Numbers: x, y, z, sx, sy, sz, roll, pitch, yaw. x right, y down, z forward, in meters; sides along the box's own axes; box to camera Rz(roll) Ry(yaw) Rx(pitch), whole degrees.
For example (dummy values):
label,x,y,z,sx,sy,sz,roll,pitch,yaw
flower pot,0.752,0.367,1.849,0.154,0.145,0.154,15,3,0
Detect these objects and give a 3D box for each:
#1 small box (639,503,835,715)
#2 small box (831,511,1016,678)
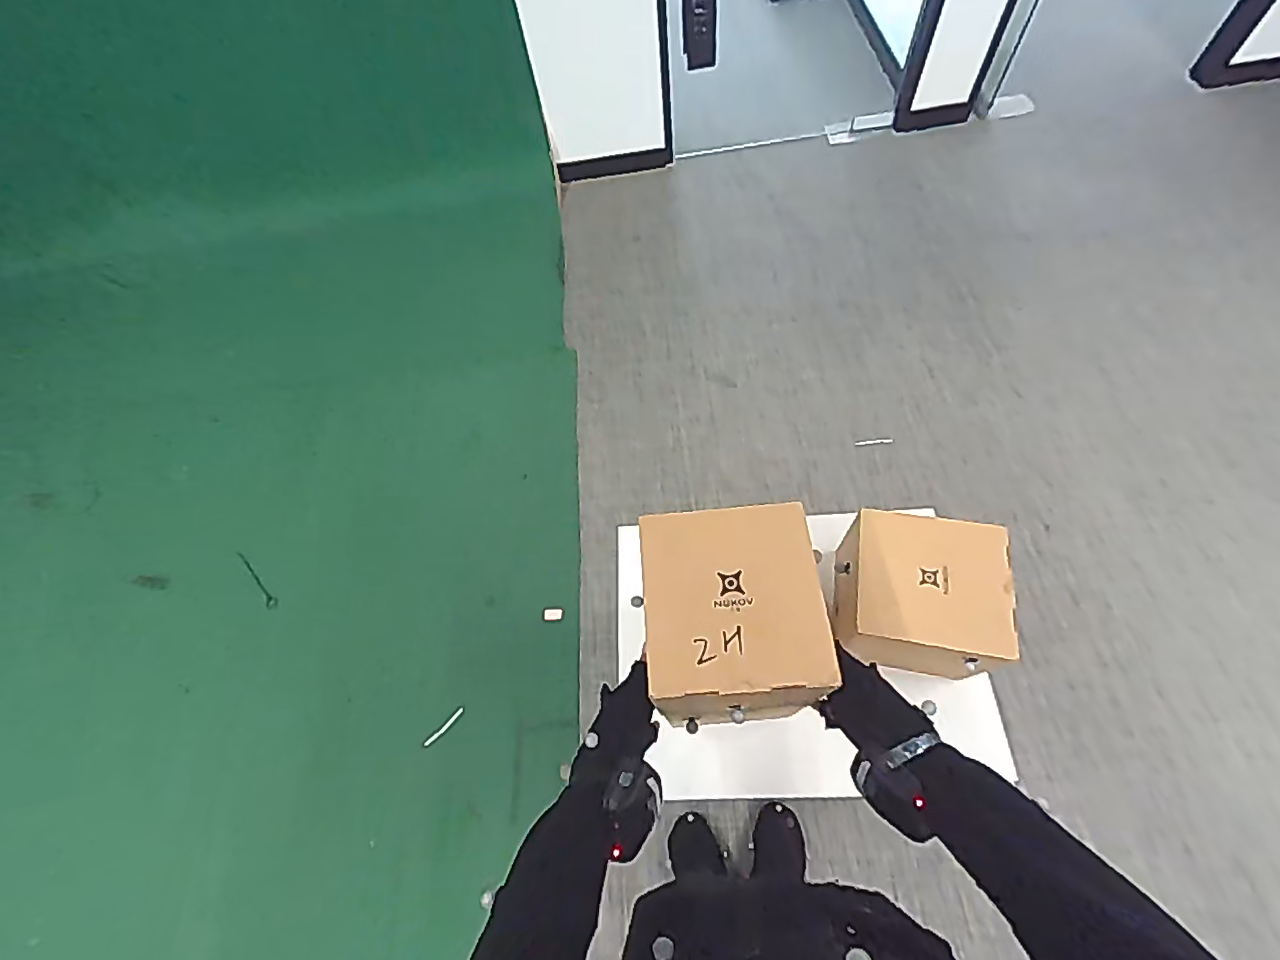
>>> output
label,x,y,z,sx,sy,sz,roll,pitch,yaw
small box,0.089,0.142,0.572,0.168,0.176,0.179,-5,61,4
small box,0.359,0.157,0.720,0.179,0.176,0.168,7,64,11
